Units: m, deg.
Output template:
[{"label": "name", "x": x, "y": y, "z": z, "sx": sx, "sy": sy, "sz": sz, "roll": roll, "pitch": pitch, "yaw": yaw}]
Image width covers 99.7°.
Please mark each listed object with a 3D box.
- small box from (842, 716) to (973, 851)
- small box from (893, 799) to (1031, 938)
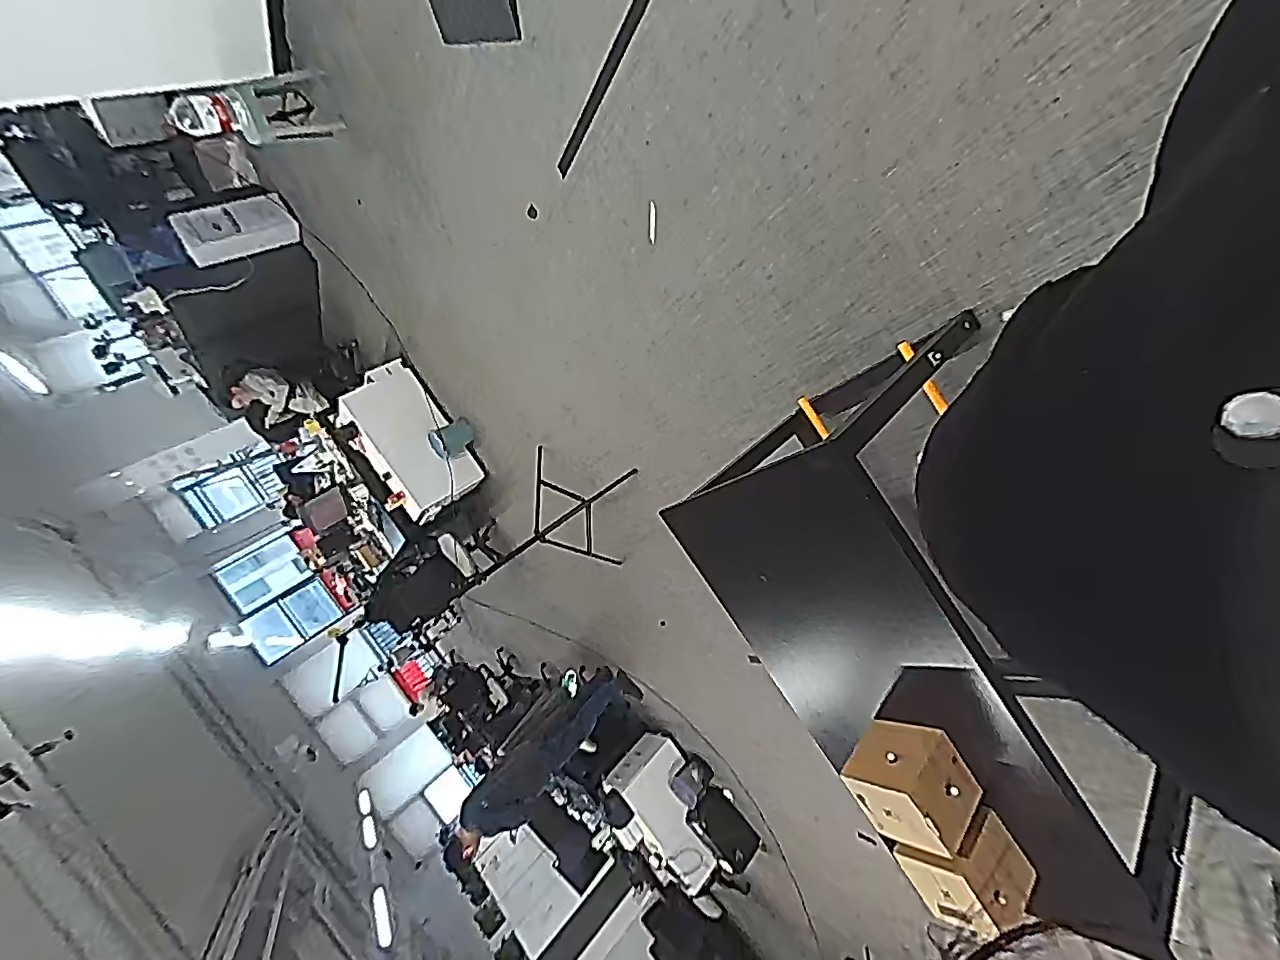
[{"label": "small box", "x": 0.576, "y": 0.632, "z": 1.152, "sx": 0.168, "sy": 0.176, "sz": 0.179, "roll": 56, "pitch": 148, "yaw": -4}, {"label": "small box", "x": 0.696, "y": 0.810, "z": 1.165, "sx": 0.179, "sy": 0.176, "sz": 0.168, "roll": 56, "pitch": 148, "yaw": -1}]
